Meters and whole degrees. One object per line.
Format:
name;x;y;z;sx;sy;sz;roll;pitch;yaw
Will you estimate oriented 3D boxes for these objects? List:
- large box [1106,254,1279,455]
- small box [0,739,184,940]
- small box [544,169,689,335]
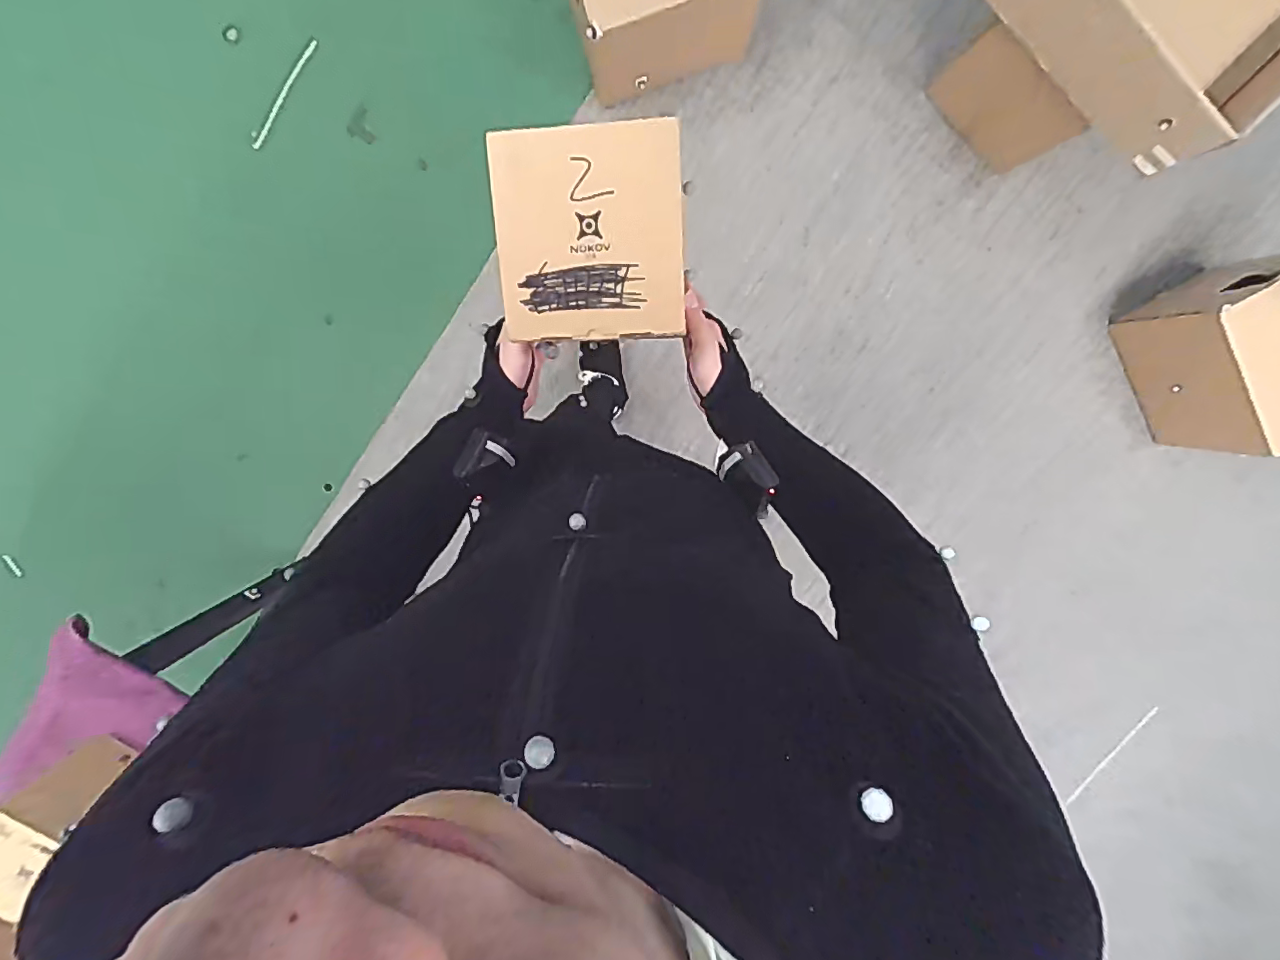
large box;1.560;-0.326;1.418;0.320;0.320;0.408;-31;98;4
small box;-0.901;0.568;0.871;0.168;0.176;0.179;36;100;-8
small box;-0.020;-0.281;0.703;0.168;0.176;0.179;0;104;4
